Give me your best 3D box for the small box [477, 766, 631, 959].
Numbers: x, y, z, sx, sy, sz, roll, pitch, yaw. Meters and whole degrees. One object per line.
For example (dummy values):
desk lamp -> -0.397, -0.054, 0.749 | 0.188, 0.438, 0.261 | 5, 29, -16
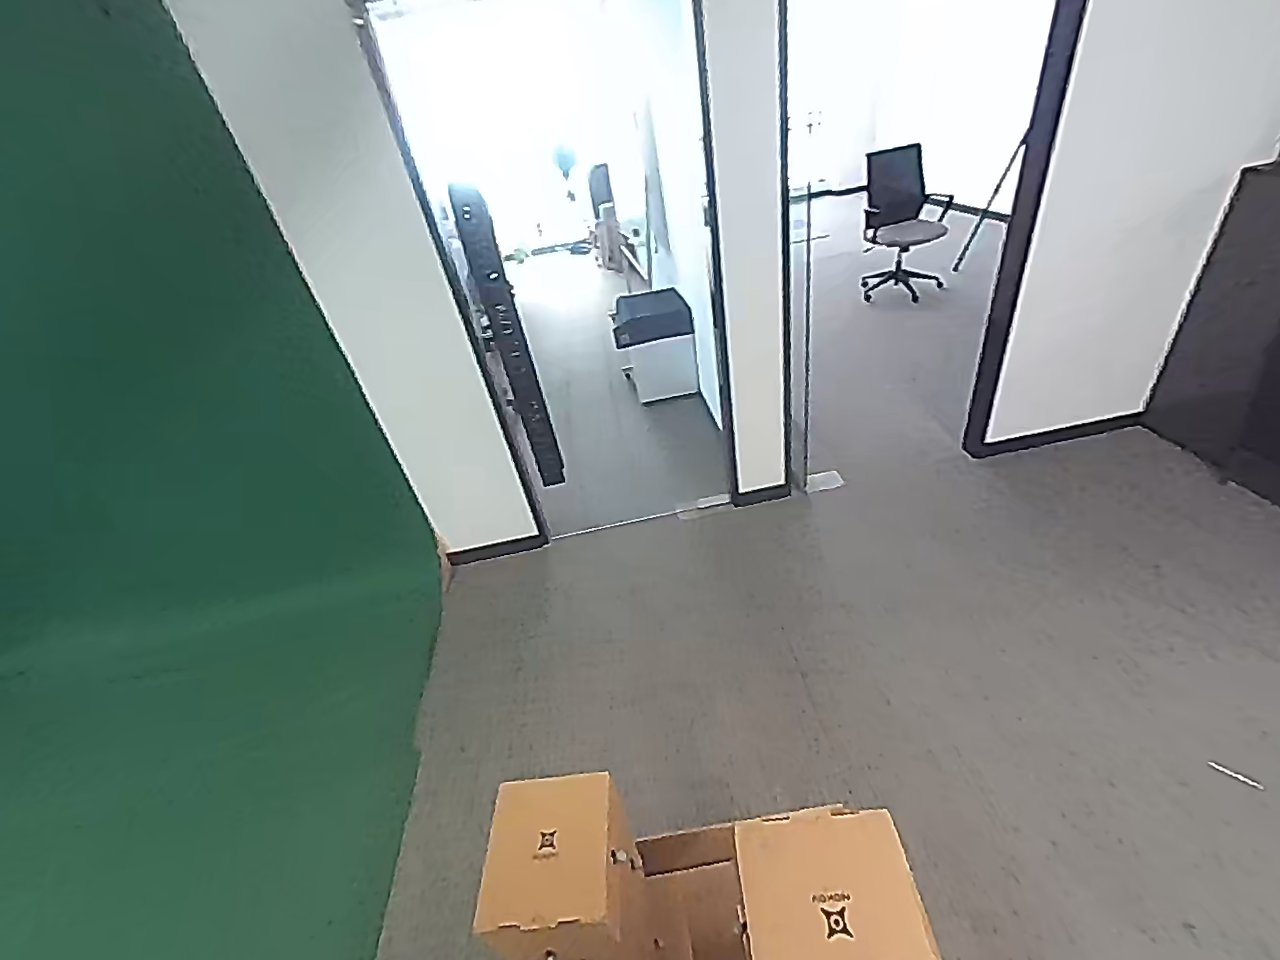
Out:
small box -> -0.107, 0.537, 0.764 | 0.168, 0.176, 0.179 | -8, 36, 5

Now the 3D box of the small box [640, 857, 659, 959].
small box -> -0.059, 0.801, 0.949 | 0.168, 0.176, 0.179 | -9, 35, 3

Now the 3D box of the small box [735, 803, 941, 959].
small box -> 0.190, 0.462, 0.554 | 0.168, 0.176, 0.179 | -6, 39, 4

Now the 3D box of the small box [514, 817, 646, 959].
small box -> -0.085, 0.669, 0.856 | 0.168, 0.176, 0.179 | -9, 35, 4
